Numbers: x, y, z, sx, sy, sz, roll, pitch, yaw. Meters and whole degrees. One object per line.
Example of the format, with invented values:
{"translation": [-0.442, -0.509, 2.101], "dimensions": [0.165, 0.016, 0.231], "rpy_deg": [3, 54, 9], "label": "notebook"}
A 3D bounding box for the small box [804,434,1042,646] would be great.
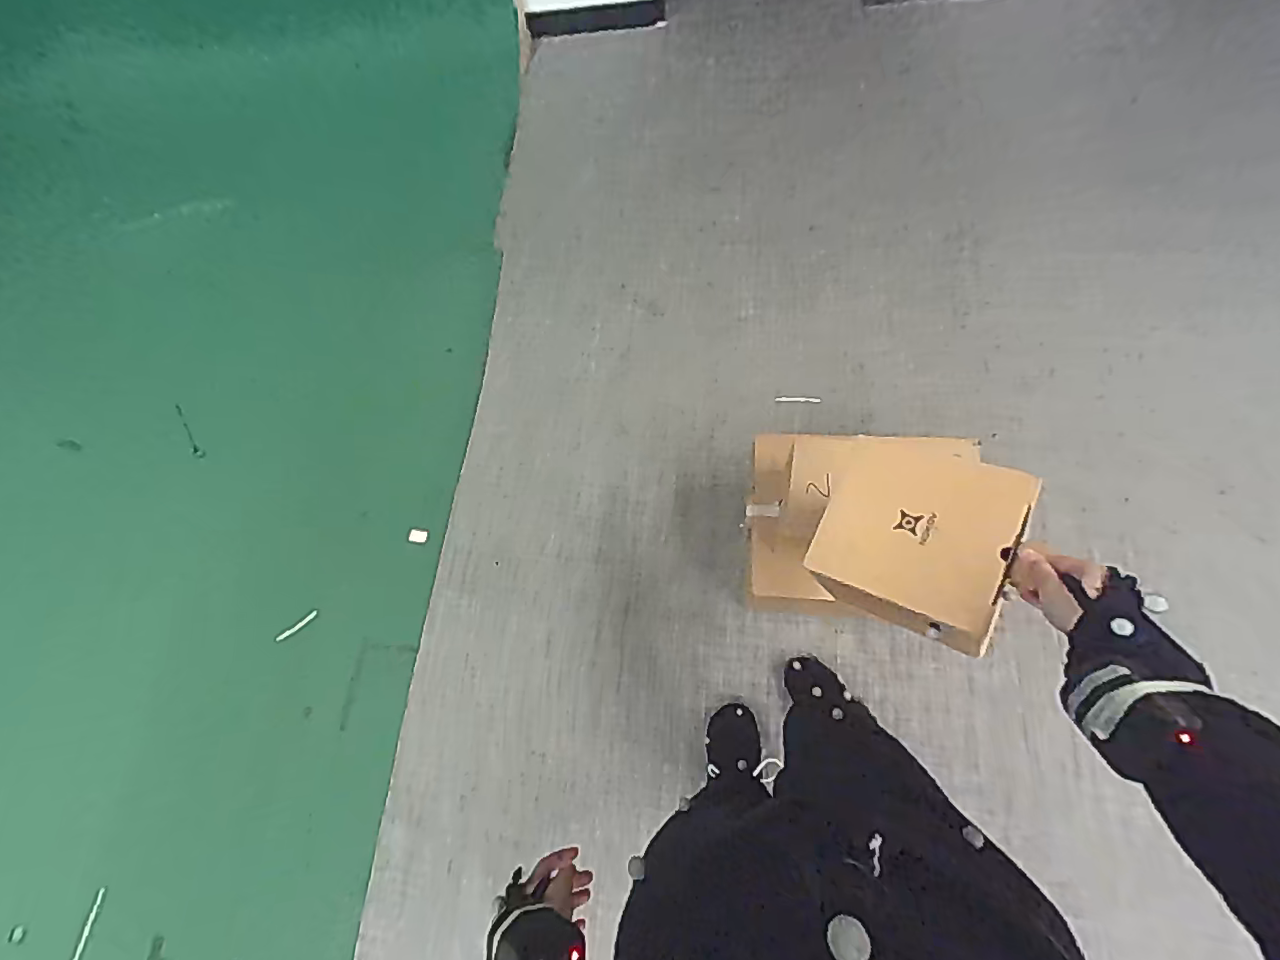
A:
{"translation": [0.315, 0.072, 0.609], "dimensions": [0.179, 0.176, 0.168], "rpy_deg": [20, 79, 35], "label": "small box"}

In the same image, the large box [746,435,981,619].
{"translation": [0.429, 0.111, 1.110], "dimensions": [0.408, 0.320, 0.320], "rpy_deg": [3, 73, 8], "label": "large box"}
